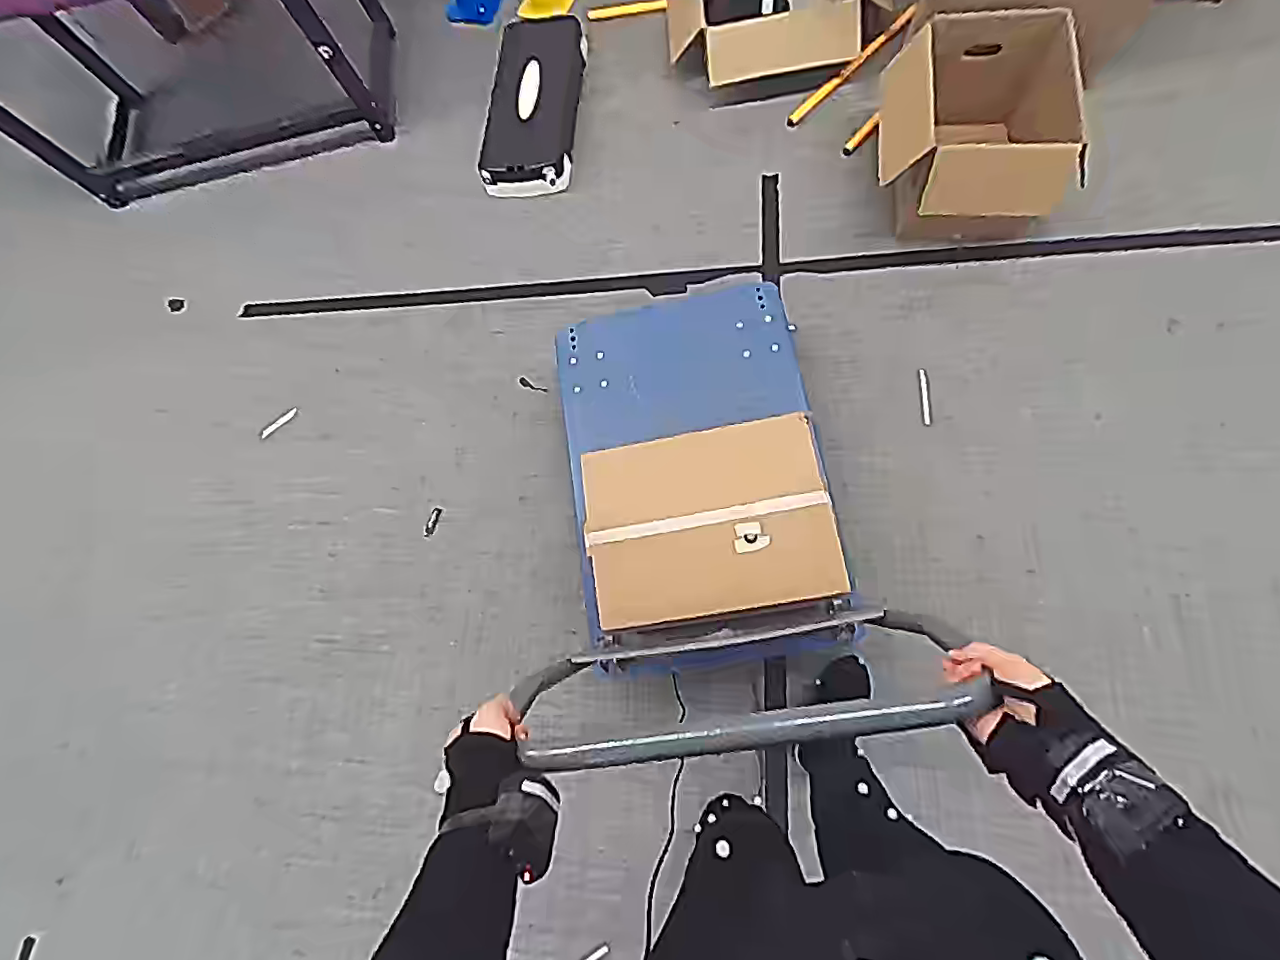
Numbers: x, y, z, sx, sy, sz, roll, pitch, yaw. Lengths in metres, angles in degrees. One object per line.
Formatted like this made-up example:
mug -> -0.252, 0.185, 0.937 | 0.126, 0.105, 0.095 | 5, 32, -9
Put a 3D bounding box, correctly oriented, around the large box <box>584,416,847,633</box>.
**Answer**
large box -> 0.133, 0.110, 1.058 | 0.408, 0.320, 0.320 | -11, 74, 5
